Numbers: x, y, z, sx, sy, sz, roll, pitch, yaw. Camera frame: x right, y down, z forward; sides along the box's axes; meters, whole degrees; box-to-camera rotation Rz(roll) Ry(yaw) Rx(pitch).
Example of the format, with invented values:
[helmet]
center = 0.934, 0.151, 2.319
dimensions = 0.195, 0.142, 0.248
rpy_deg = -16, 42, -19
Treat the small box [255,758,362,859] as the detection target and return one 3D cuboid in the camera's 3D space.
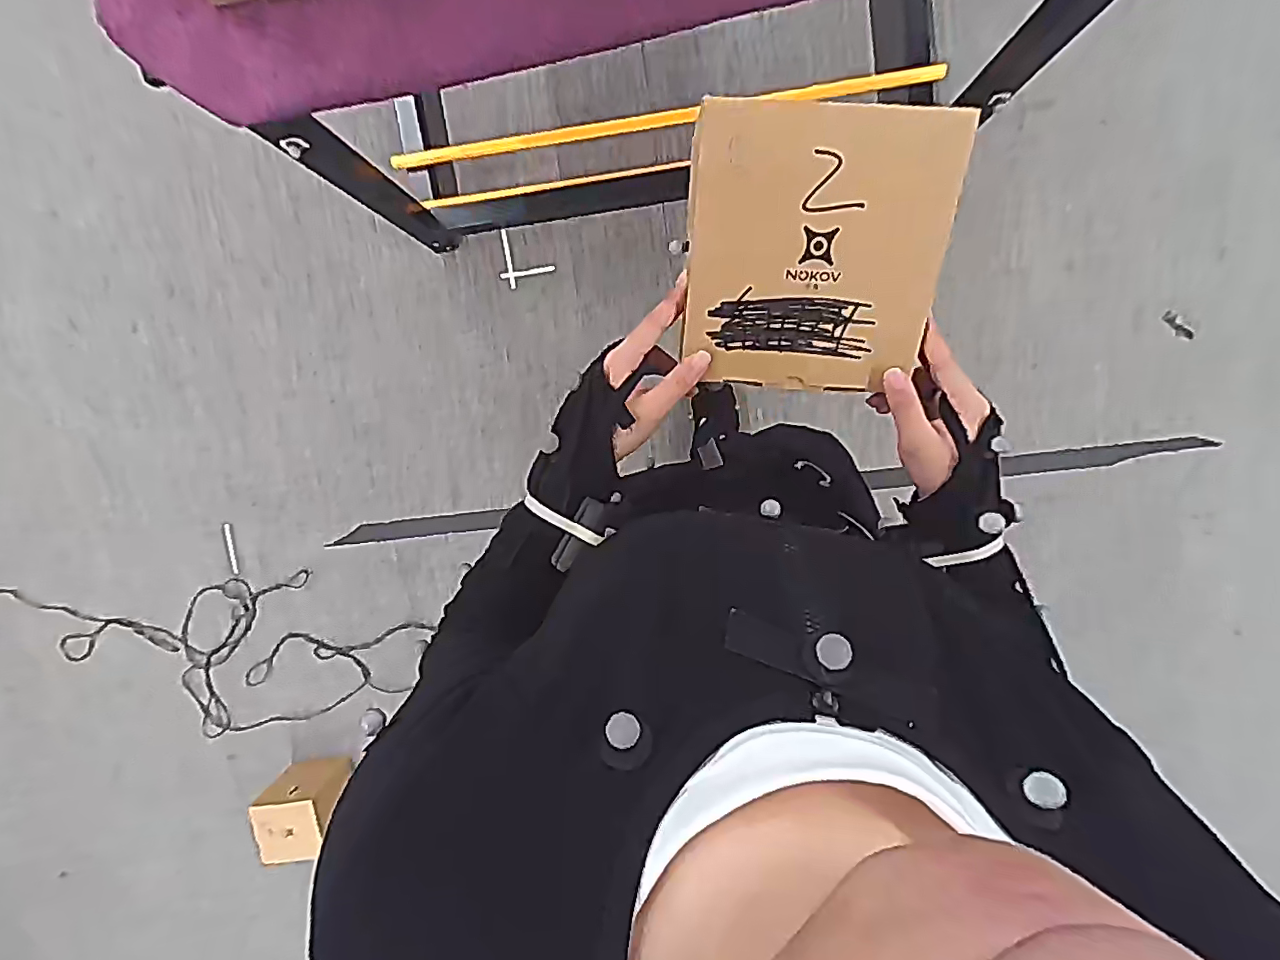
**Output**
[small box]
center = -0.881, 0.878, 1.459
dimensions = 0.179, 0.176, 0.168
rpy_deg = -8, 97, 5
